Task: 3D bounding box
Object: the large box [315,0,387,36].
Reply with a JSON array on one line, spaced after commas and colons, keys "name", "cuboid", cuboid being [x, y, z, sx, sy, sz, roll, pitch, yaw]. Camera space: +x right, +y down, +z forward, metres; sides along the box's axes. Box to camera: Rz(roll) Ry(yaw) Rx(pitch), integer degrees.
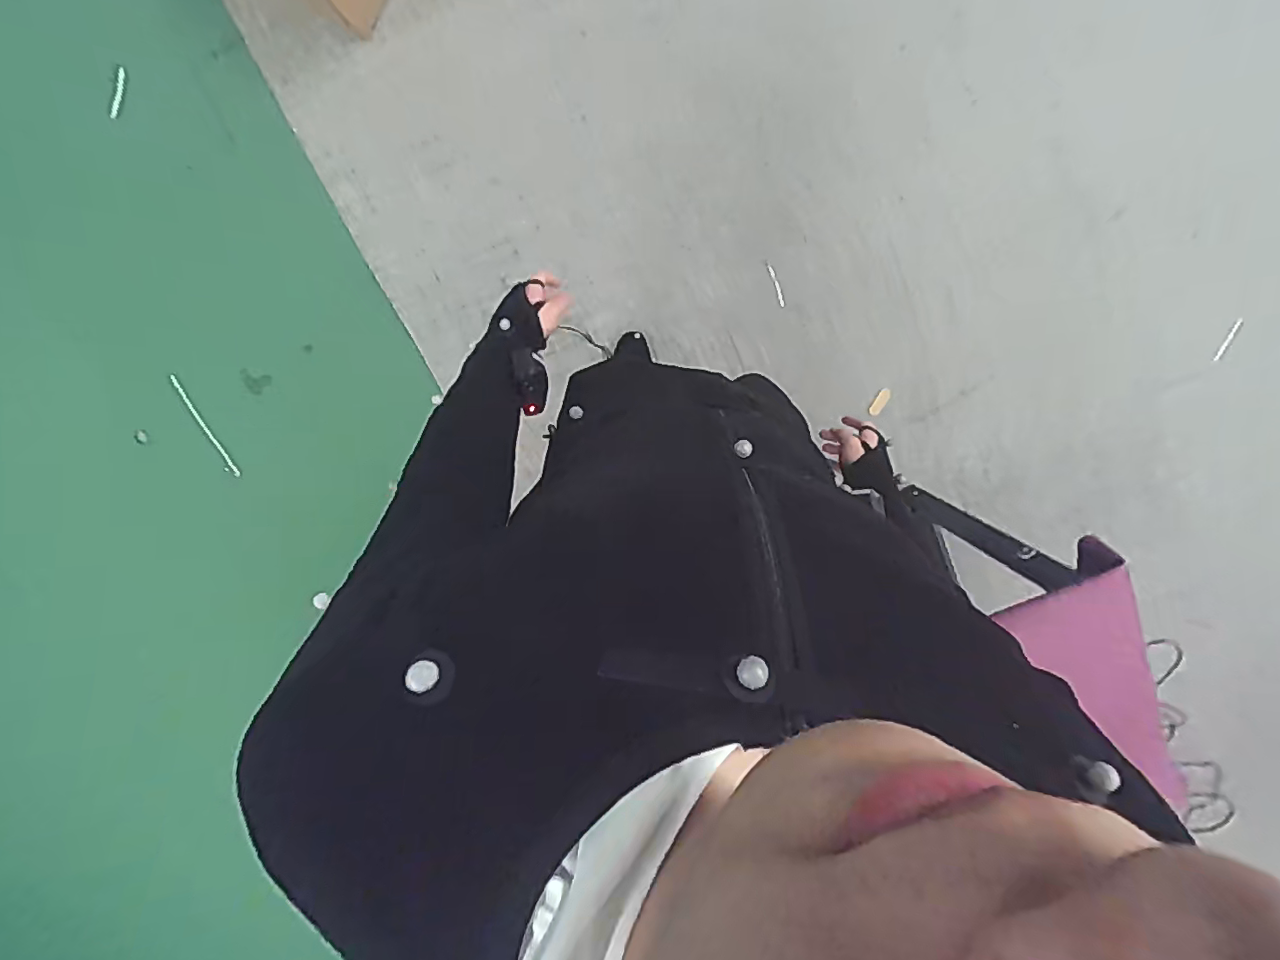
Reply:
[{"name": "large box", "cuboid": [-0.669, -1.265, 1.098, 0.320, 0.320, 0.408, 31, 103, -10]}]
